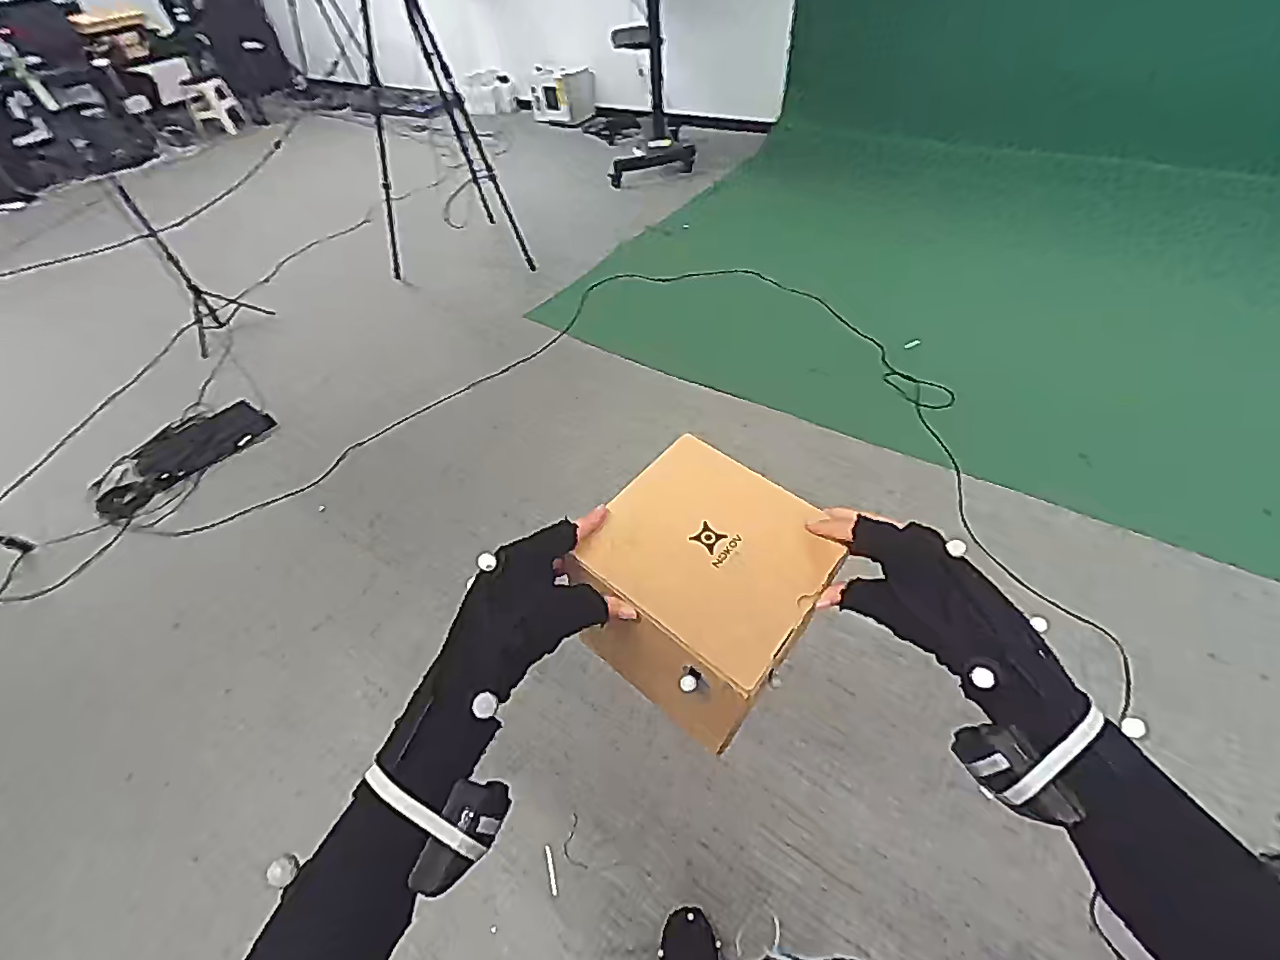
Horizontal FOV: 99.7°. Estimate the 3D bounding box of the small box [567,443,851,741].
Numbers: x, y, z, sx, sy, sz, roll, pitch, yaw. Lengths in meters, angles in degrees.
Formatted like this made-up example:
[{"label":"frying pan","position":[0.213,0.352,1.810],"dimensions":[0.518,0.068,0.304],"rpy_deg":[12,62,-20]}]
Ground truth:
[{"label":"small box","position":[0.053,0.104,0.497],"dimensions":[0.179,0.176,0.168],"rpy_deg":[35,57,23]}]
